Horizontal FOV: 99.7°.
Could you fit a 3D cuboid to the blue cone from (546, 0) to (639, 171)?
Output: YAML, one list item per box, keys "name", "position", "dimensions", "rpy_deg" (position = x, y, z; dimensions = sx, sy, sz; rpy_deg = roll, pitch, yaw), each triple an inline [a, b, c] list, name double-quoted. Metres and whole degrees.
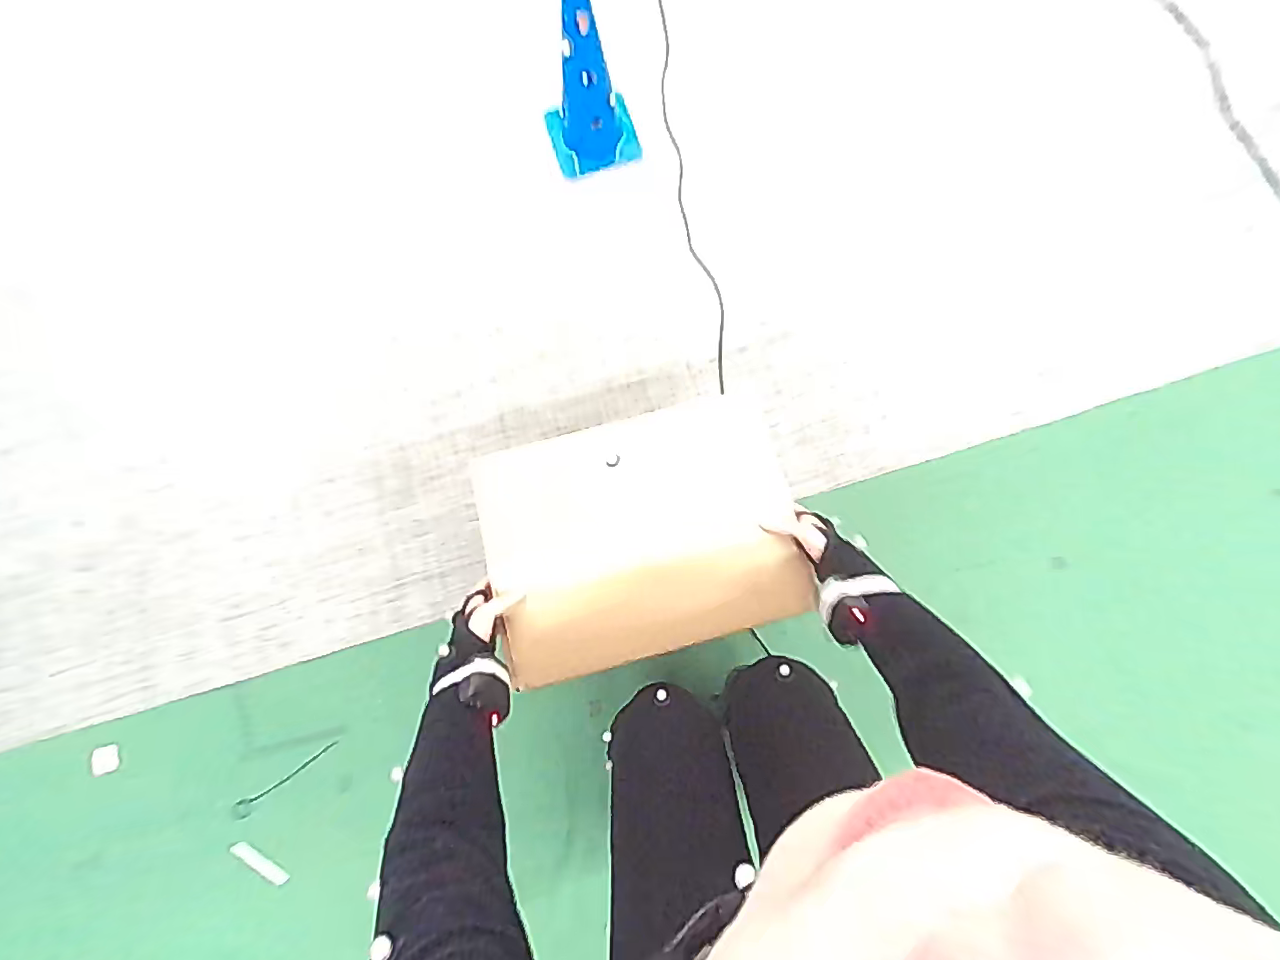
- name: "blue cone"
  position: [-0.116, -0.850, 1.108]
  dimensions: [0.193, 0.380, 0.192]
  rpy_deg: [-21, 81, -1]
